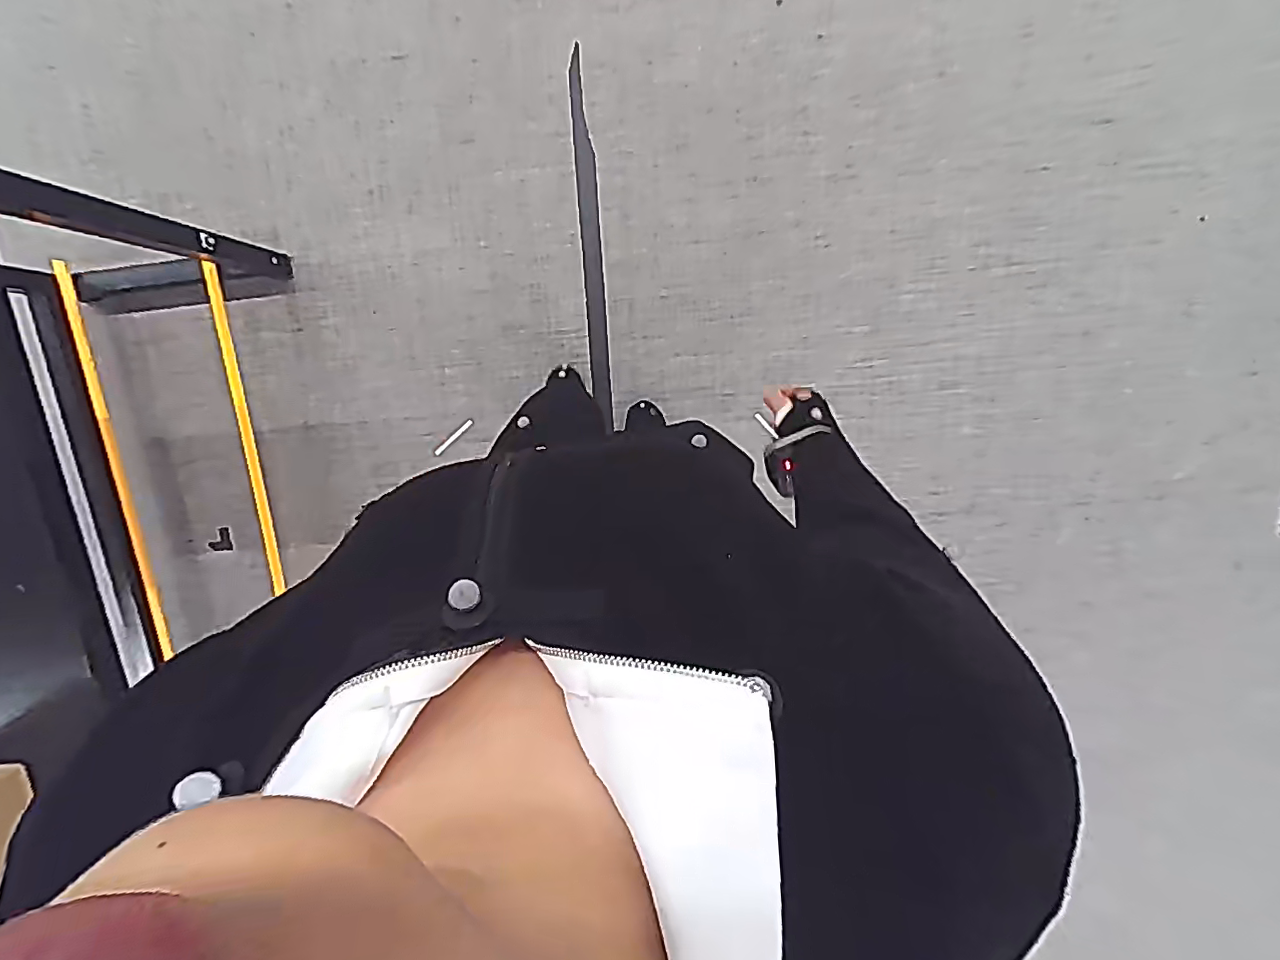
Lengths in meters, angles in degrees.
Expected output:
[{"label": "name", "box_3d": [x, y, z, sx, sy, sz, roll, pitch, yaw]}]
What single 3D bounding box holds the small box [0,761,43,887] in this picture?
[{"label": "small box", "box_3d": [-1.056, 0.549, 0.795, 0.168, 0.176, 0.179, -4, 100, 2]}]
